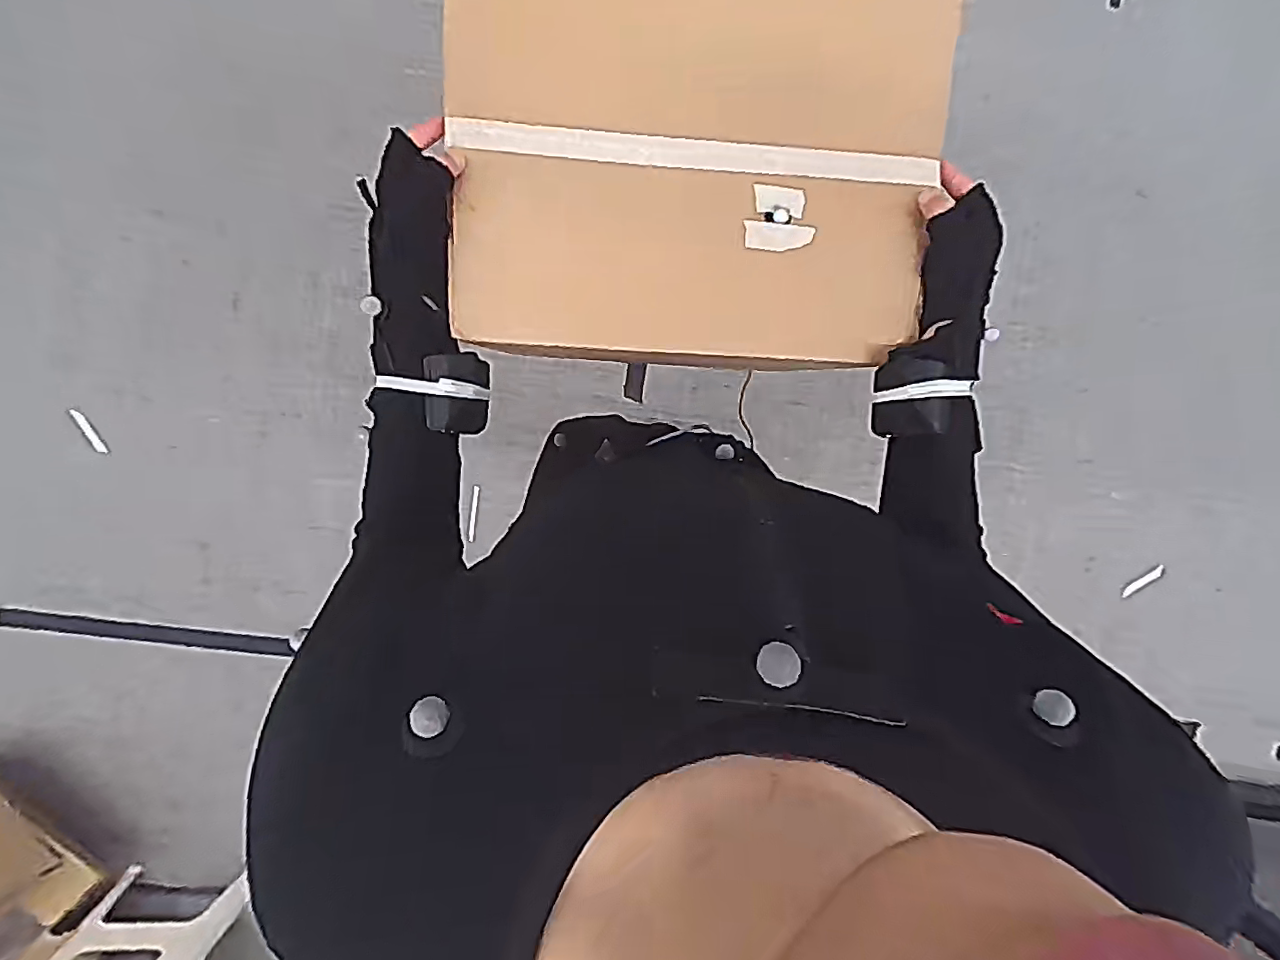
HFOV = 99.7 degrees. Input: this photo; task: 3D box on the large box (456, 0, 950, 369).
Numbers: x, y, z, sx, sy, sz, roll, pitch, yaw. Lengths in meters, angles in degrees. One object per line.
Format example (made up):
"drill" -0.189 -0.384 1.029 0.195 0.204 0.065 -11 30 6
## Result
"large box" 0.036 -0.290 0.596 0.408 0.320 0.320 3 102 -6
